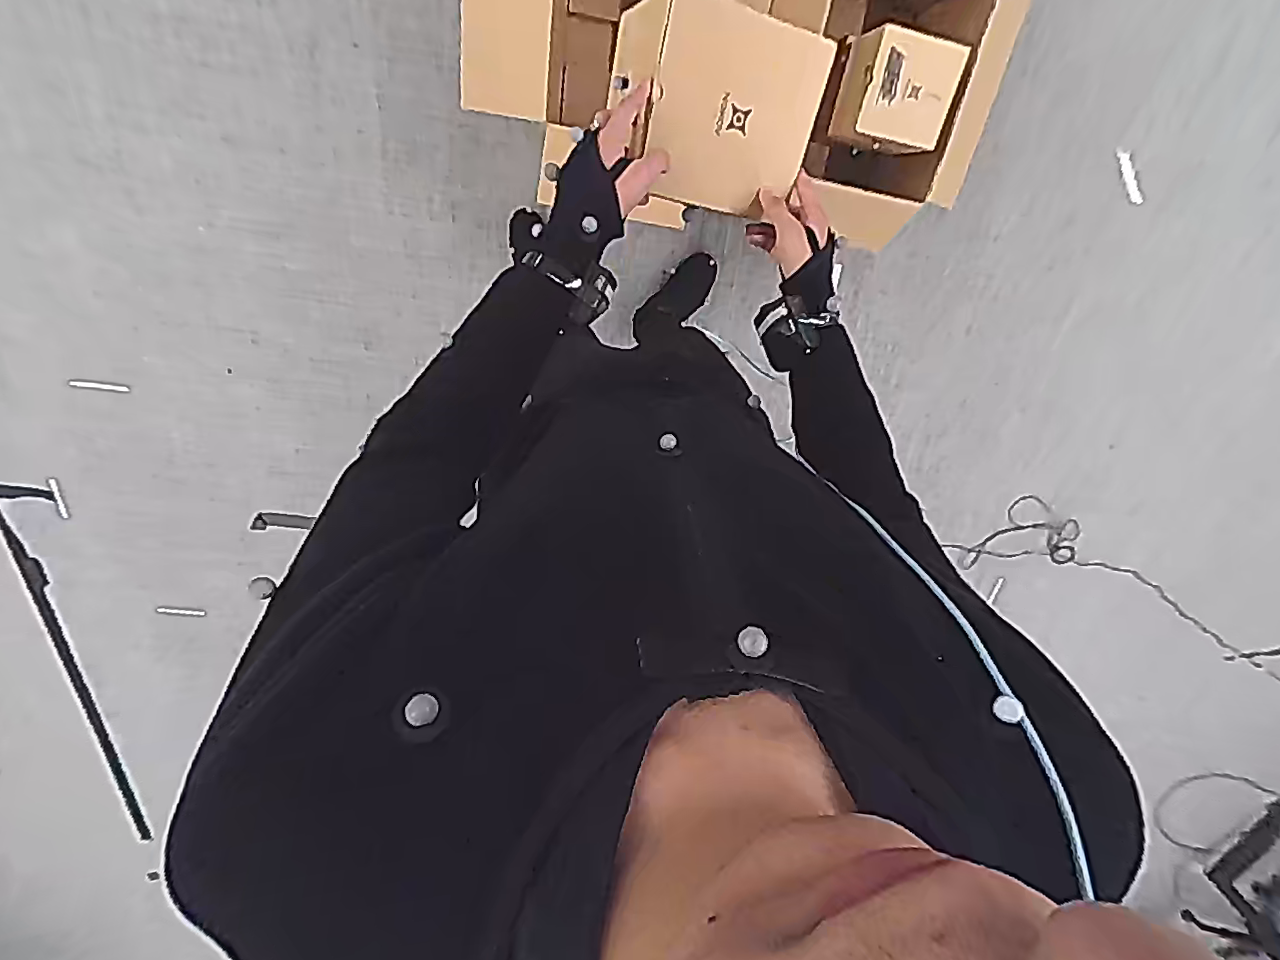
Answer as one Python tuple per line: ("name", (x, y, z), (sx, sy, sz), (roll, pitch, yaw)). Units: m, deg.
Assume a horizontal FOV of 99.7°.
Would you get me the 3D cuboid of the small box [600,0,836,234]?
("small box", (0.069, -0.385, 0.591), (0.179, 0.176, 0.168), (3, 120, -20))
